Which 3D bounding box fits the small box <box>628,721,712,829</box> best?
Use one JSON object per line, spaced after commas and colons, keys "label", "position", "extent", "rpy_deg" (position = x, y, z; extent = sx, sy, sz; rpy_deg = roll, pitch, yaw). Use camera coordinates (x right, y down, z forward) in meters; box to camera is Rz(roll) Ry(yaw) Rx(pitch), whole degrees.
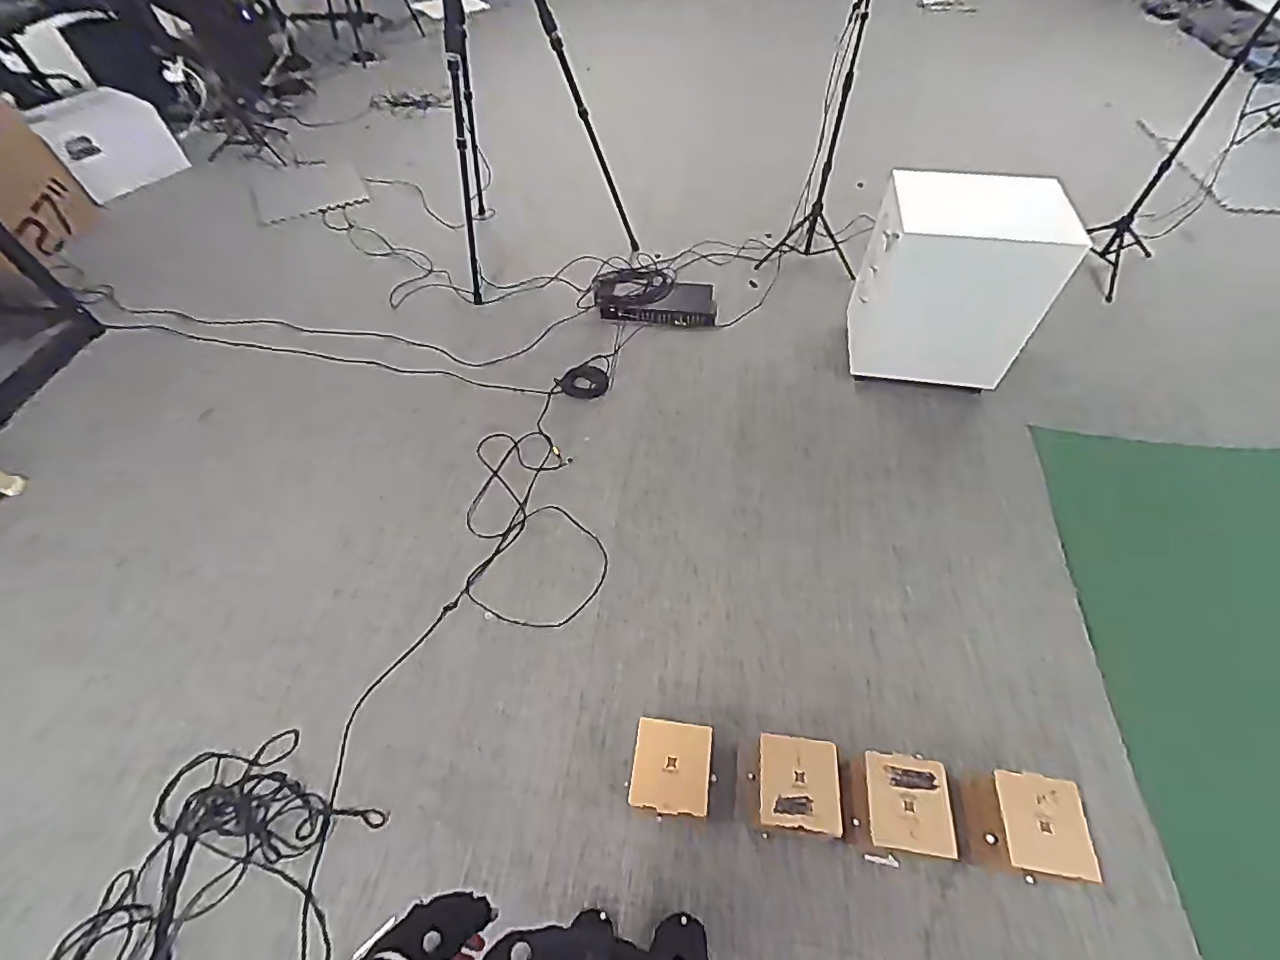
{"label": "small box", "position": [0.068, 0.665, 1.218], "extent": [0.168, 0.176, 0.179], "rpy_deg": [5, 54, 6]}

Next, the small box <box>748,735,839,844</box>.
{"label": "small box", "position": [0.331, 0.685, 1.190], "extent": [0.168, 0.176, 0.179], "rpy_deg": [5, 52, 7]}

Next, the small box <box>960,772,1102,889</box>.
{"label": "small box", "position": [0.807, 0.737, 1.139], "extent": [0.168, 0.176, 0.179], "rpy_deg": [7, 54, 6]}
